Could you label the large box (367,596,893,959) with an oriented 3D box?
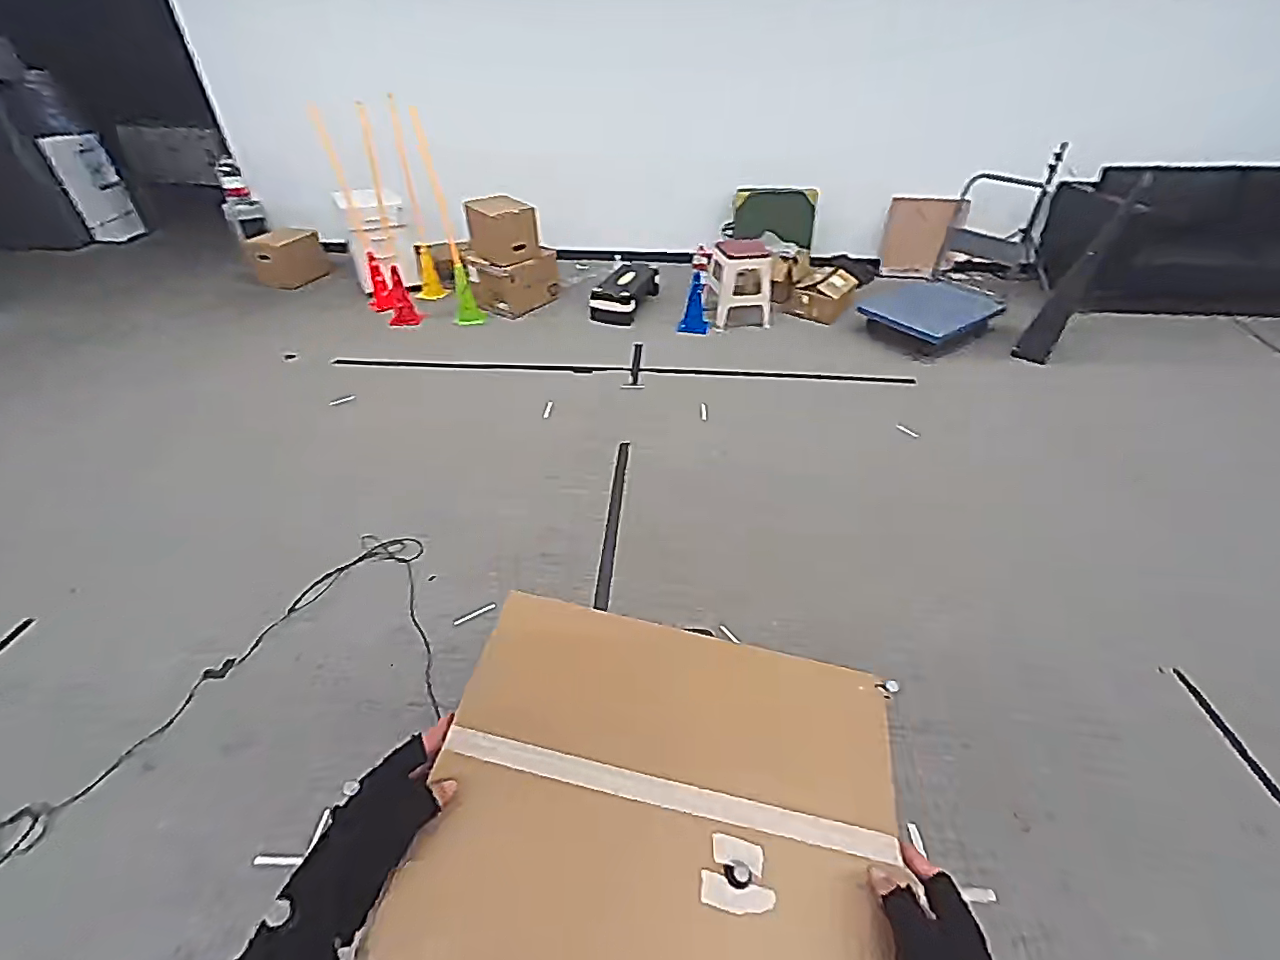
[{"bbox_3d":[0.003,0.372,0.594,0.408,0.320,0.320,12,49,4],"label":"large box"}]
